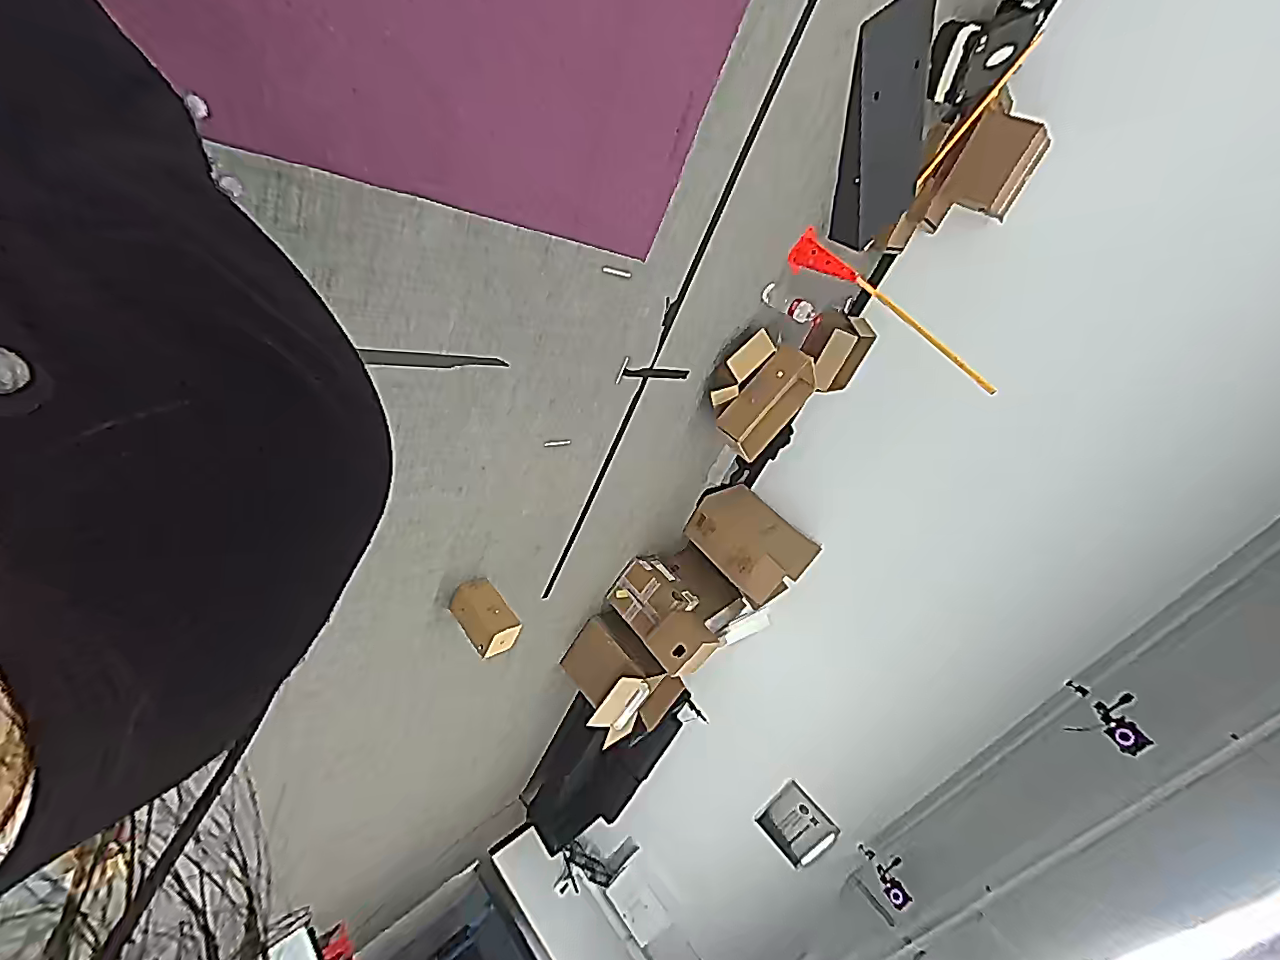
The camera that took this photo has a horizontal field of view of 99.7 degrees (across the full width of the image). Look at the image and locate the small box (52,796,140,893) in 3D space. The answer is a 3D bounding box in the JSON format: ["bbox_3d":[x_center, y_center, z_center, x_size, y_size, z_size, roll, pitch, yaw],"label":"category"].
[{"bbox_3d":[-1.734,1.152,1.724,0.168,0.176,0.179,-15,139,-46],"label":"small box"}]

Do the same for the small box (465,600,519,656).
[{"bbox_3d":[-0.724,0.715,2.622,0.168,0.176,0.179,-8,133,-53],"label":"small box"}]
